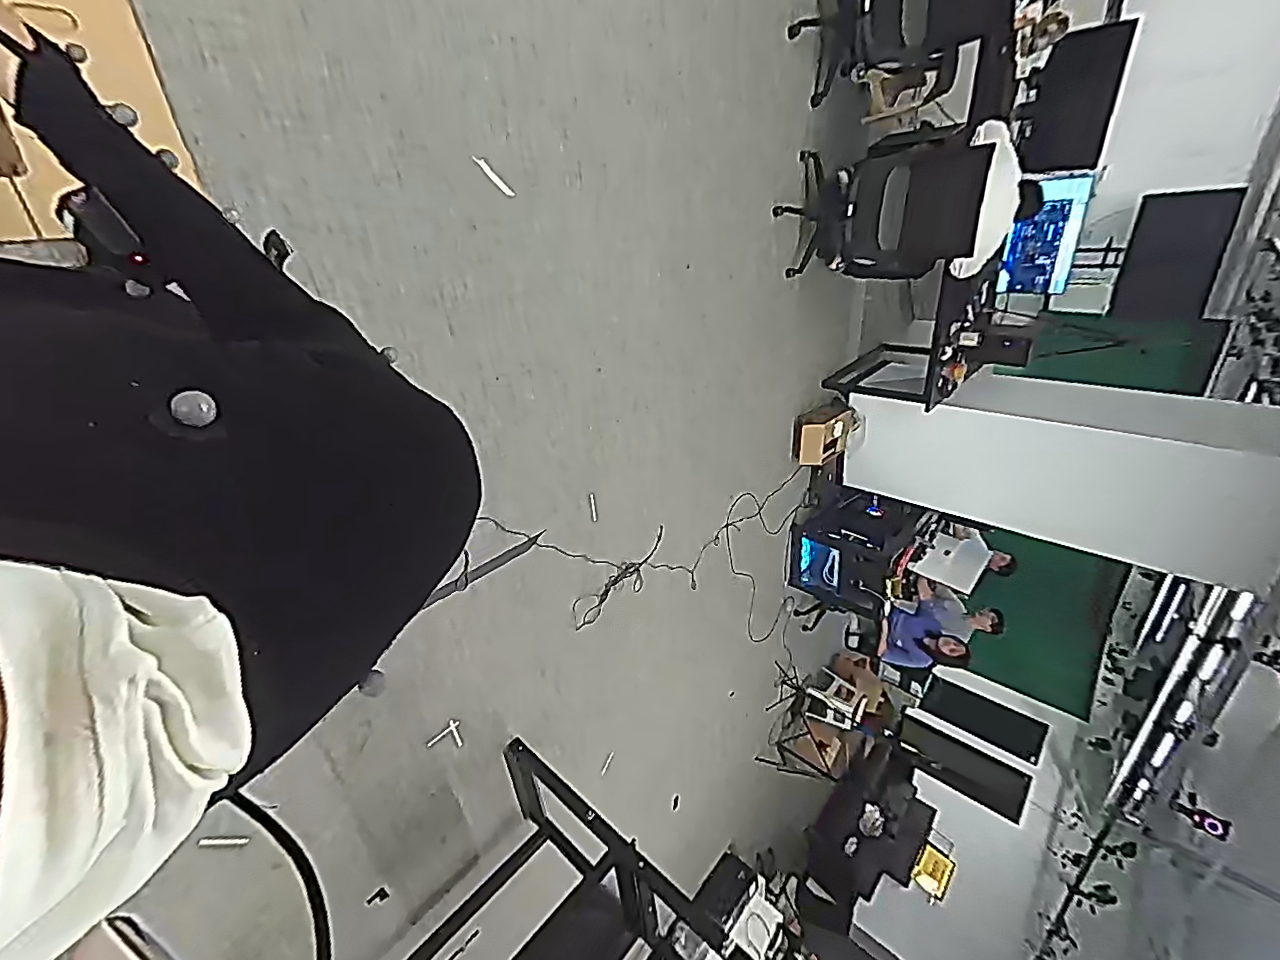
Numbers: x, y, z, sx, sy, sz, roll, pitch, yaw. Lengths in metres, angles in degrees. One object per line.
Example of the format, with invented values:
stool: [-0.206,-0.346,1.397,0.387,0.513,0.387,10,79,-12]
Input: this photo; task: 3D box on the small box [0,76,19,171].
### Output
small box: [-0.638,-0.347,0.411,0.179,0.176,0.168,-31,110,-37]
